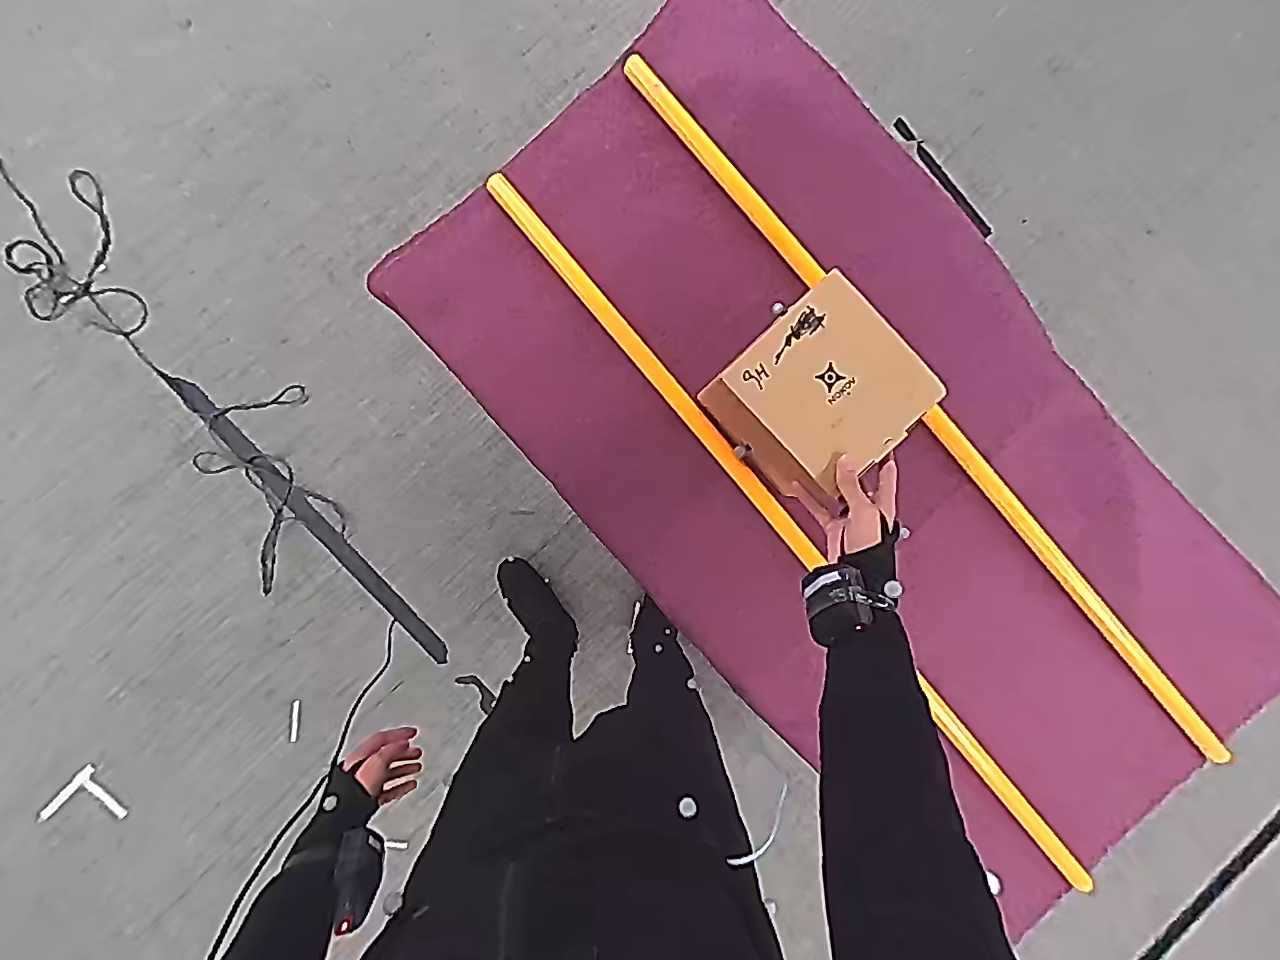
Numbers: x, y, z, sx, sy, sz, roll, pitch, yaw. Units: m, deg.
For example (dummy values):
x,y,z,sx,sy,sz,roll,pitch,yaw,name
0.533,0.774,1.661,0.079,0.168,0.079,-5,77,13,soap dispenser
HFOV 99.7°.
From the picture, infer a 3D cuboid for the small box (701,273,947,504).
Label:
x,y,z,sx,sy,sz,roll,pitch,yaw,name
0.194,-0.095,0.623,0.168,0.176,0.179,-42,93,-1,small box
